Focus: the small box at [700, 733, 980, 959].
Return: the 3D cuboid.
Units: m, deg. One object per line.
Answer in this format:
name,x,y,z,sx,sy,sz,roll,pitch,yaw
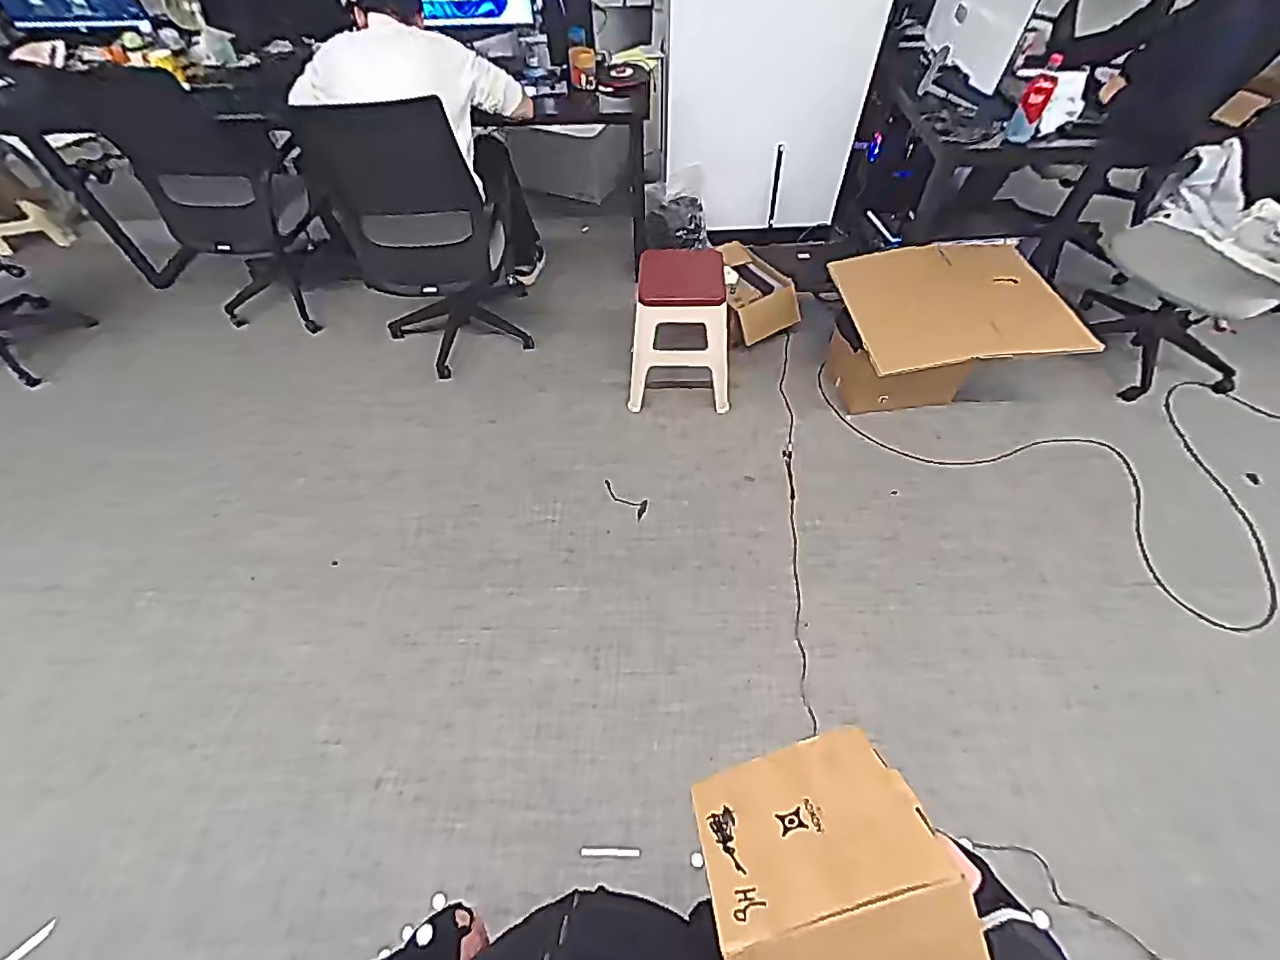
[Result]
small box,0.169,0.367,0.472,0.179,0.168,0.176,-19,99,1
